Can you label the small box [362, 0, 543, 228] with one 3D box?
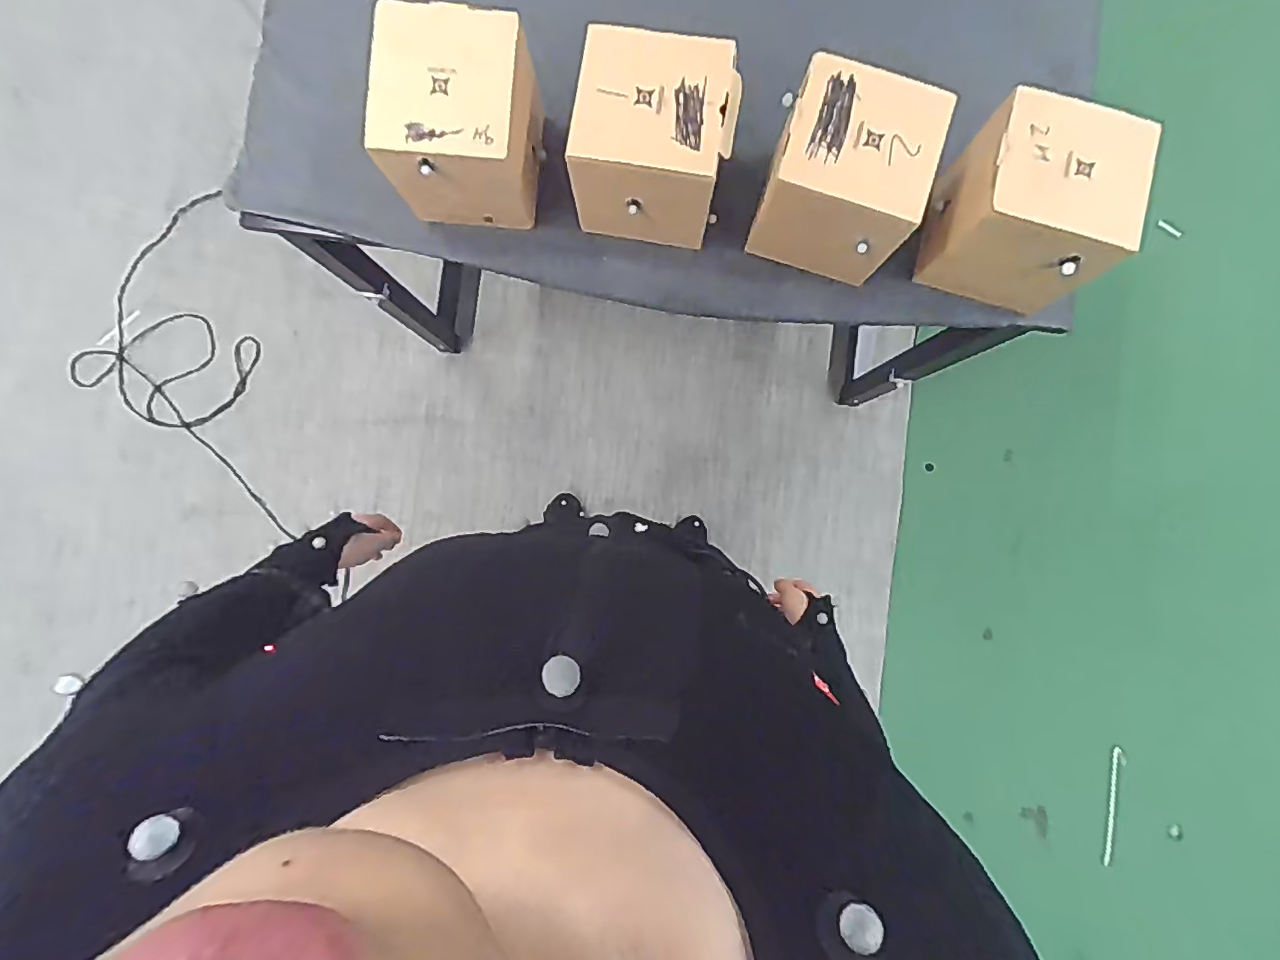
[{"bbox_3d":[-0.226,-0.456,0.695,0.168,0.176,0.179,5,88,1],"label":"small box"}]
